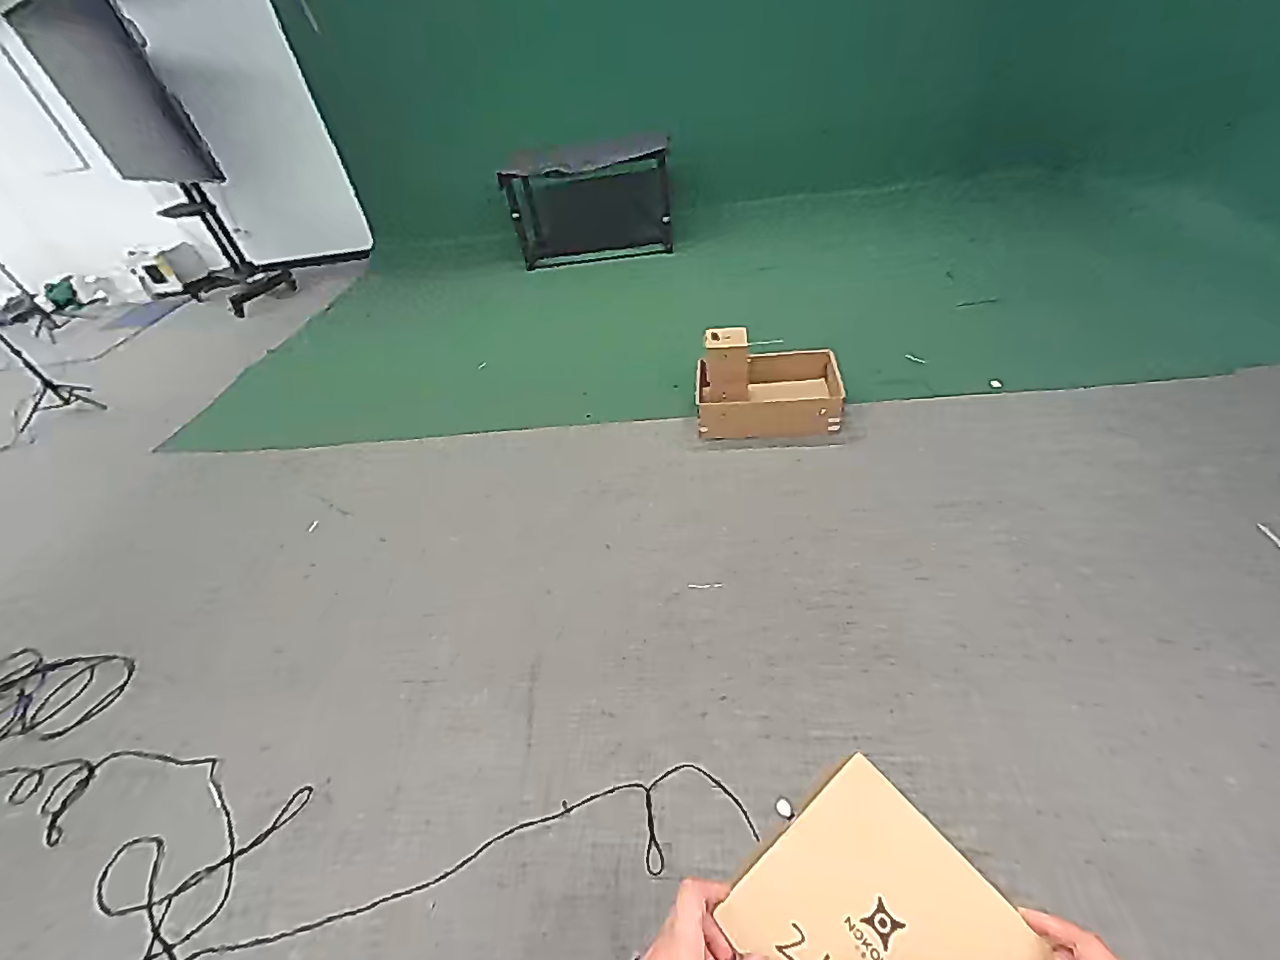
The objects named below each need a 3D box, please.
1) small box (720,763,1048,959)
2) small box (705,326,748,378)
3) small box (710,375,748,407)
[{"bbox_3d":[0.184,0.378,0.465,0.179,0.176,0.168,-38,60,-14],"label":"small box"},{"bbox_3d":[0.380,-0.558,2.370,0.179,0.176,0.168,-1,44,9],"label":"small box"},{"bbox_3d":[0.408,-0.445,2.486,0.168,0.176,0.179,-2,43,9],"label":"small box"}]
